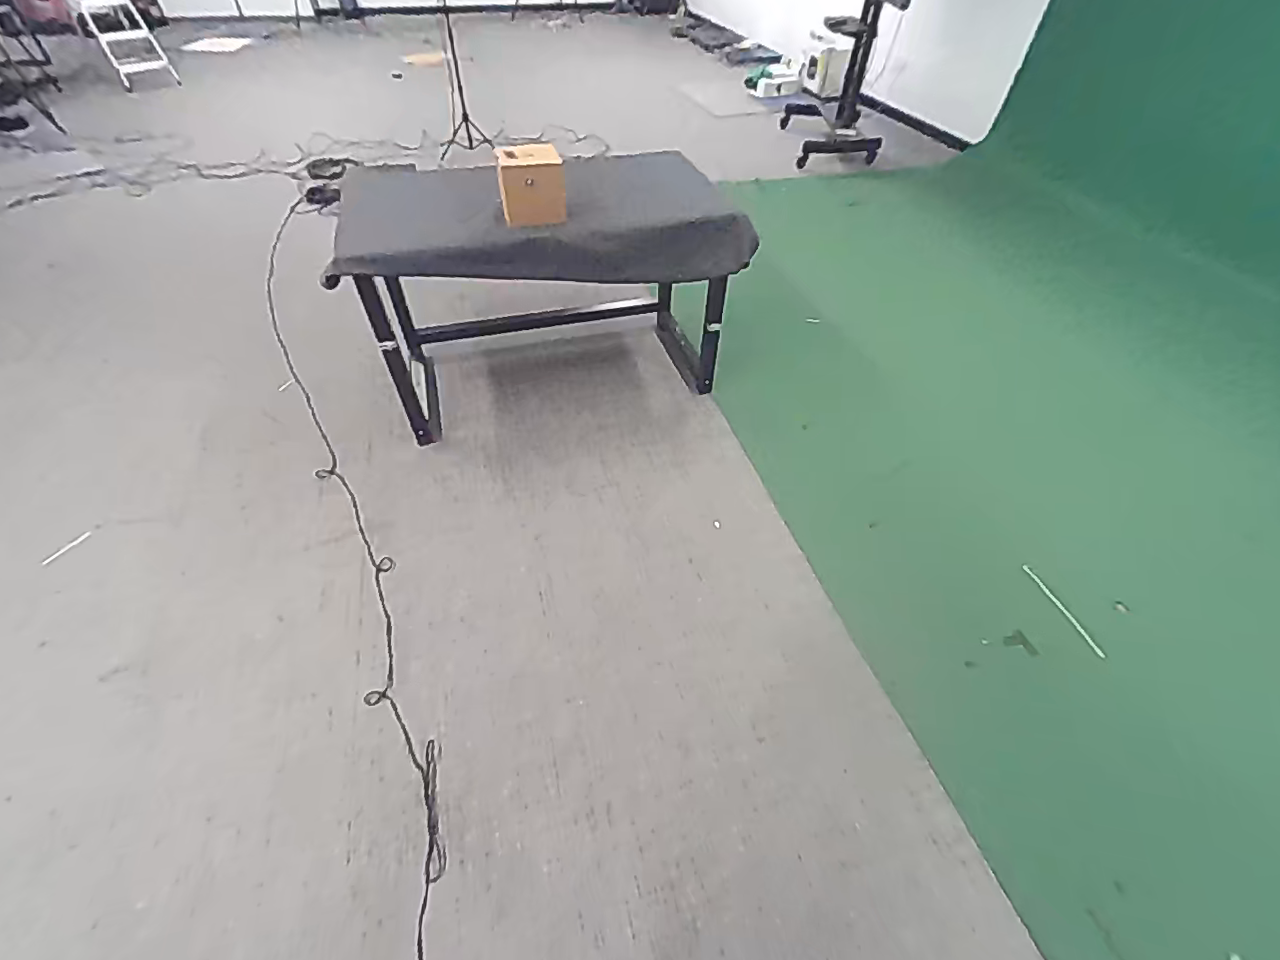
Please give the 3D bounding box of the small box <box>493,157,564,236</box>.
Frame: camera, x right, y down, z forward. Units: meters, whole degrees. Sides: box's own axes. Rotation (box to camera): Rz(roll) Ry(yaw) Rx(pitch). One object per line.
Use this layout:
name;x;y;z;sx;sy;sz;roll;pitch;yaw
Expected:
small box;-0.334;-0.851;1.629;0.179;0.176;0.168;-11;49;-12
